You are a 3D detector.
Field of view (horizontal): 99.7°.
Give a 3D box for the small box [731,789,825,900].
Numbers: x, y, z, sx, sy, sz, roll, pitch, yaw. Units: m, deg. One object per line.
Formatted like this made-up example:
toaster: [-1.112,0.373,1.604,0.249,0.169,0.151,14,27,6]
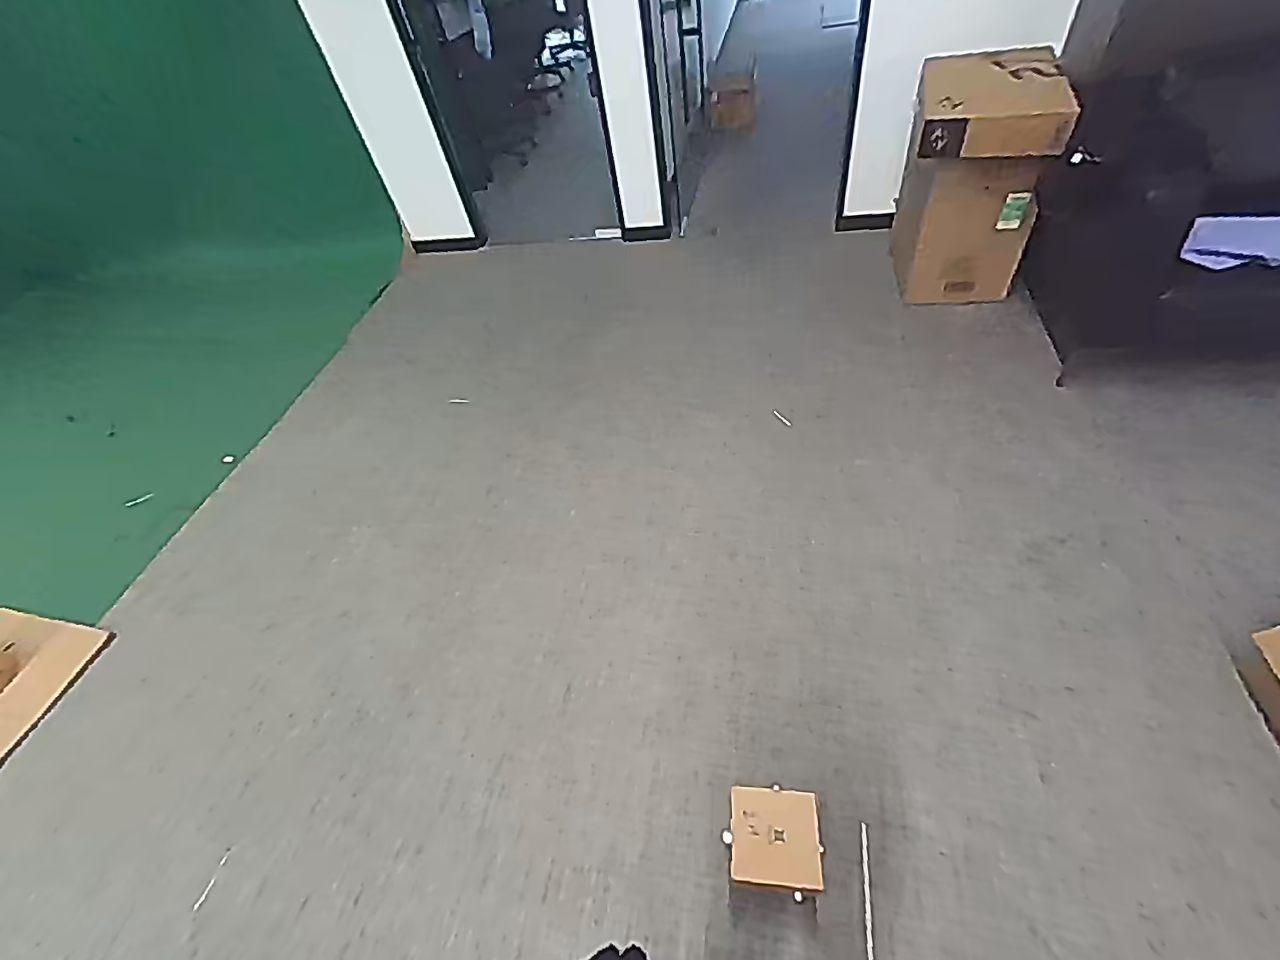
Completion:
small box: [0.283,0.769,1.139,0.179,0.176,0.168,0,48,11]
